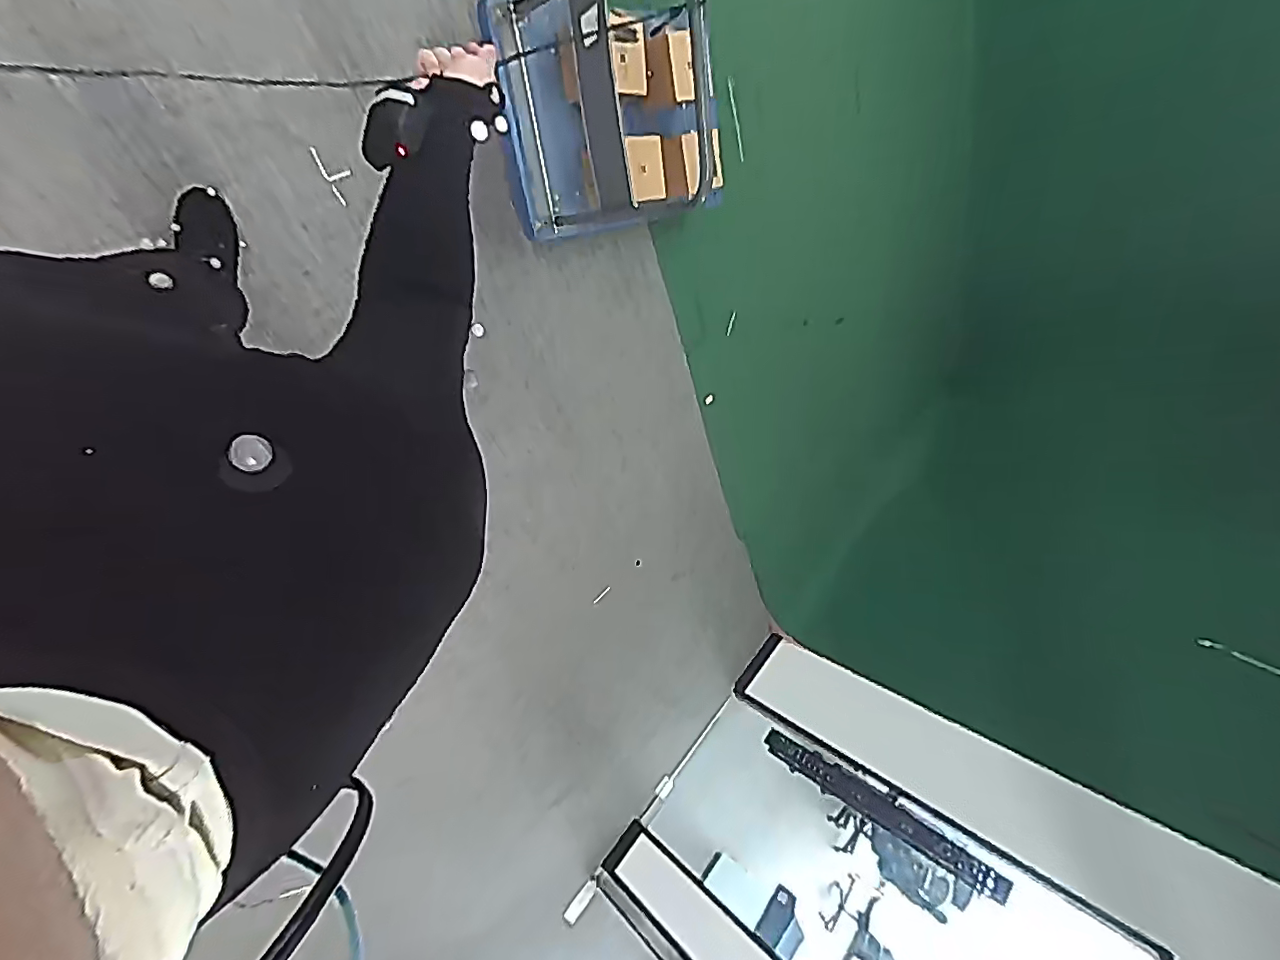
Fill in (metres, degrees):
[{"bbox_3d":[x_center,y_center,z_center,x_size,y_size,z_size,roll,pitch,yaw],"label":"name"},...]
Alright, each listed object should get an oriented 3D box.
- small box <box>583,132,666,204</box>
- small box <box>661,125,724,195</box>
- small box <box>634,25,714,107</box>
[{"bbox_3d":[-0.046,-0.939,1.630,0.179,0.176,0.168,-28,123,-34],"label":"small box"},{"bbox_3d":[0.150,-1.050,1.779,0.179,0.176,0.168,-33,124,-31],"label":"small box"},{"bbox_3d":[0.100,-1.263,1.656,0.179,0.176,0.168,-33,126,-32],"label":"small box"}]
